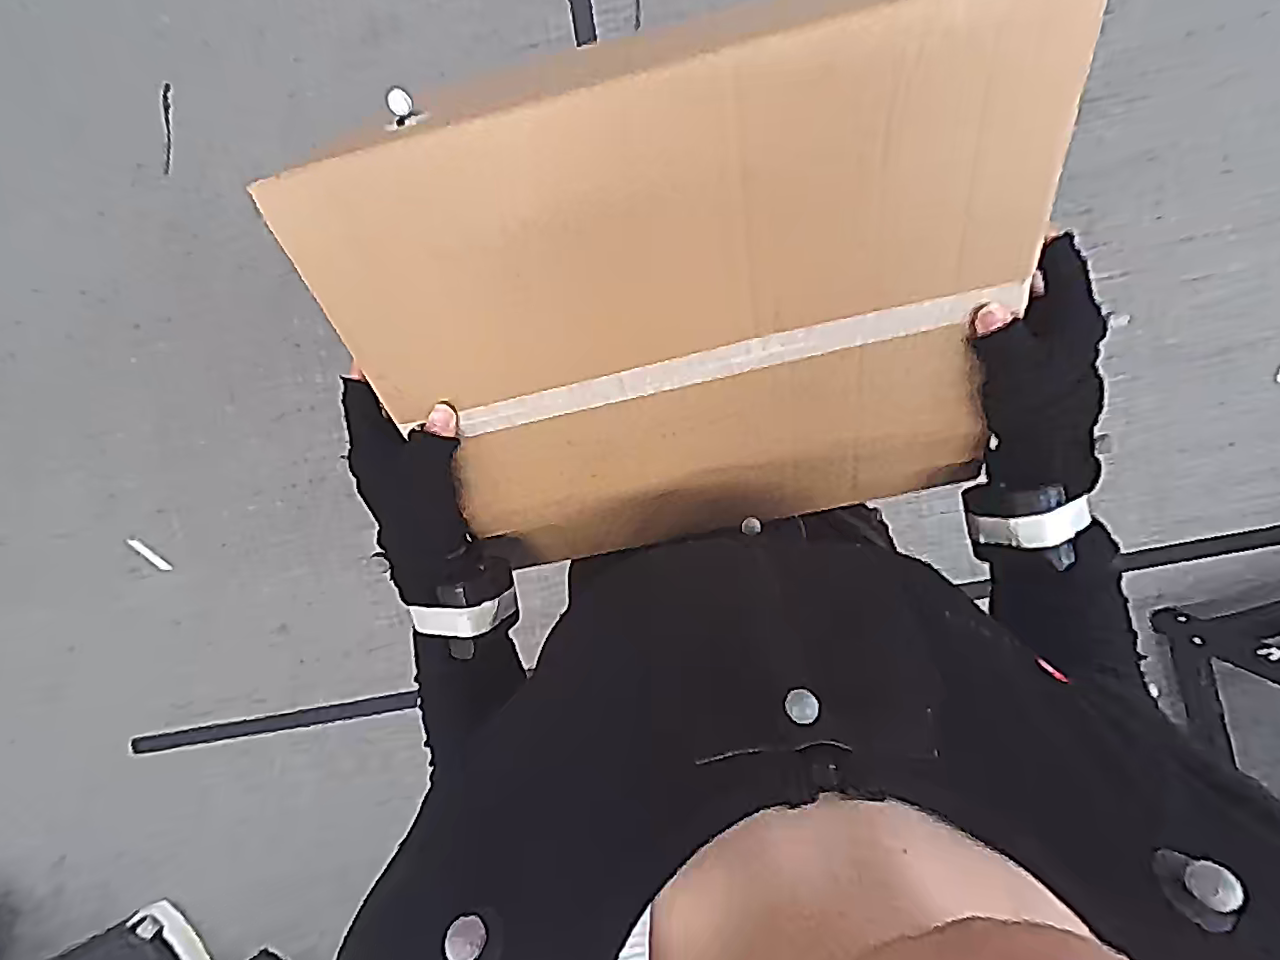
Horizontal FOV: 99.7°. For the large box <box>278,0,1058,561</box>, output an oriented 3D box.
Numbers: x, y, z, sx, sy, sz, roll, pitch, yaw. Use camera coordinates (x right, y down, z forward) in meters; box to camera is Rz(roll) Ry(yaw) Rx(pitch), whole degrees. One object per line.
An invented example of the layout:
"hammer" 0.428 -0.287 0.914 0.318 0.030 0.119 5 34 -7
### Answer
"large box" 0.021 -0.177 0.470 0.408 0.320 0.320 -12 132 6
